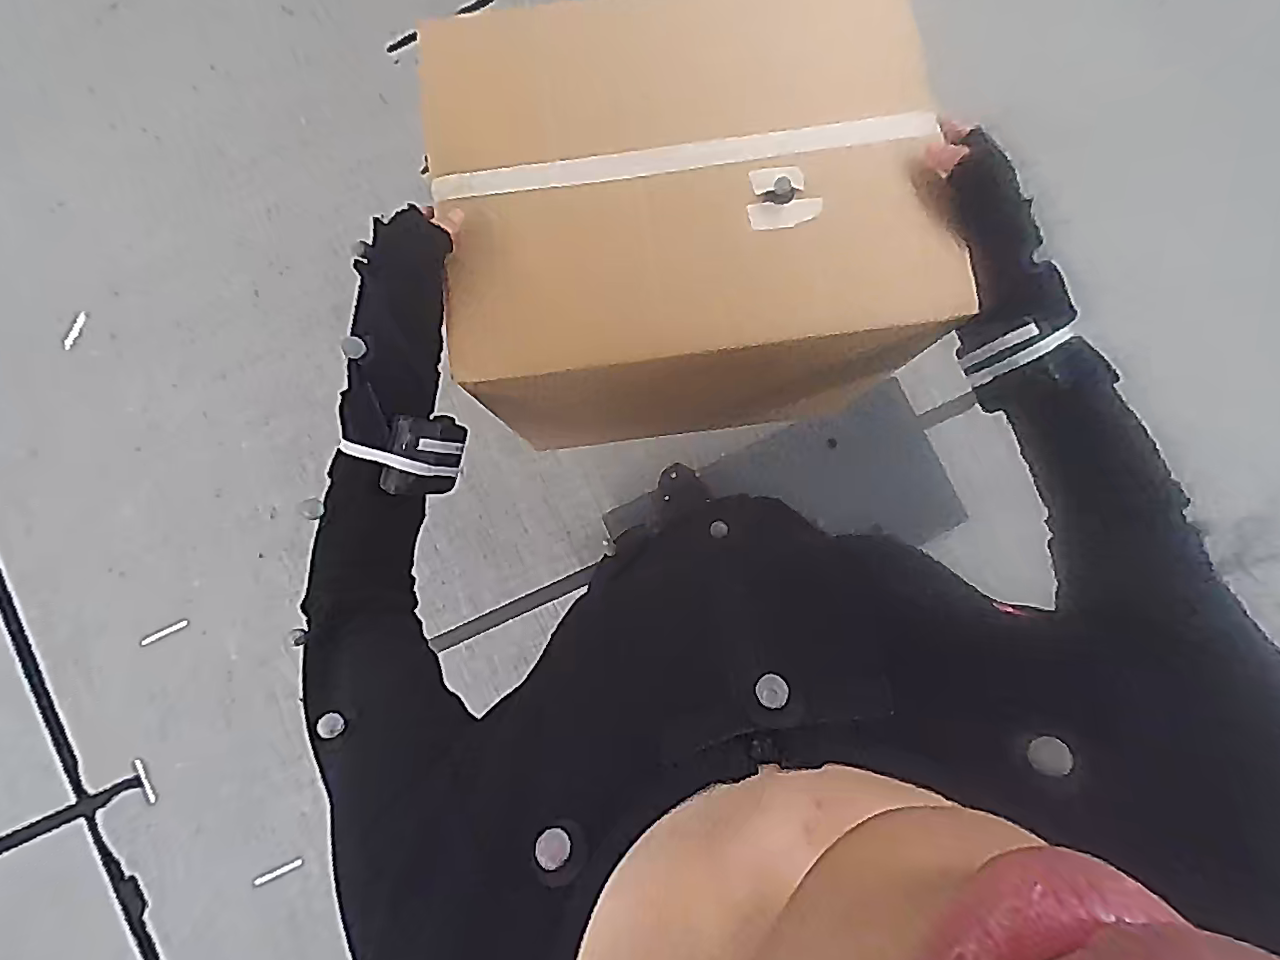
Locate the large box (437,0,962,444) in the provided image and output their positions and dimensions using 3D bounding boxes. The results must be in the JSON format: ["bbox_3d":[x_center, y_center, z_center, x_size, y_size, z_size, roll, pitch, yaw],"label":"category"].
[{"bbox_3d":[0.040,-0.240,0.592,0.408,0.320,0.320,-7,83,-1],"label":"large box"}]

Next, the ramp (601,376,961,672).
[{"bbox_3d":[0.431,0.095,1.567,0.991,0.206,0.509,-28,85,-1],"label":"ramp"}]
